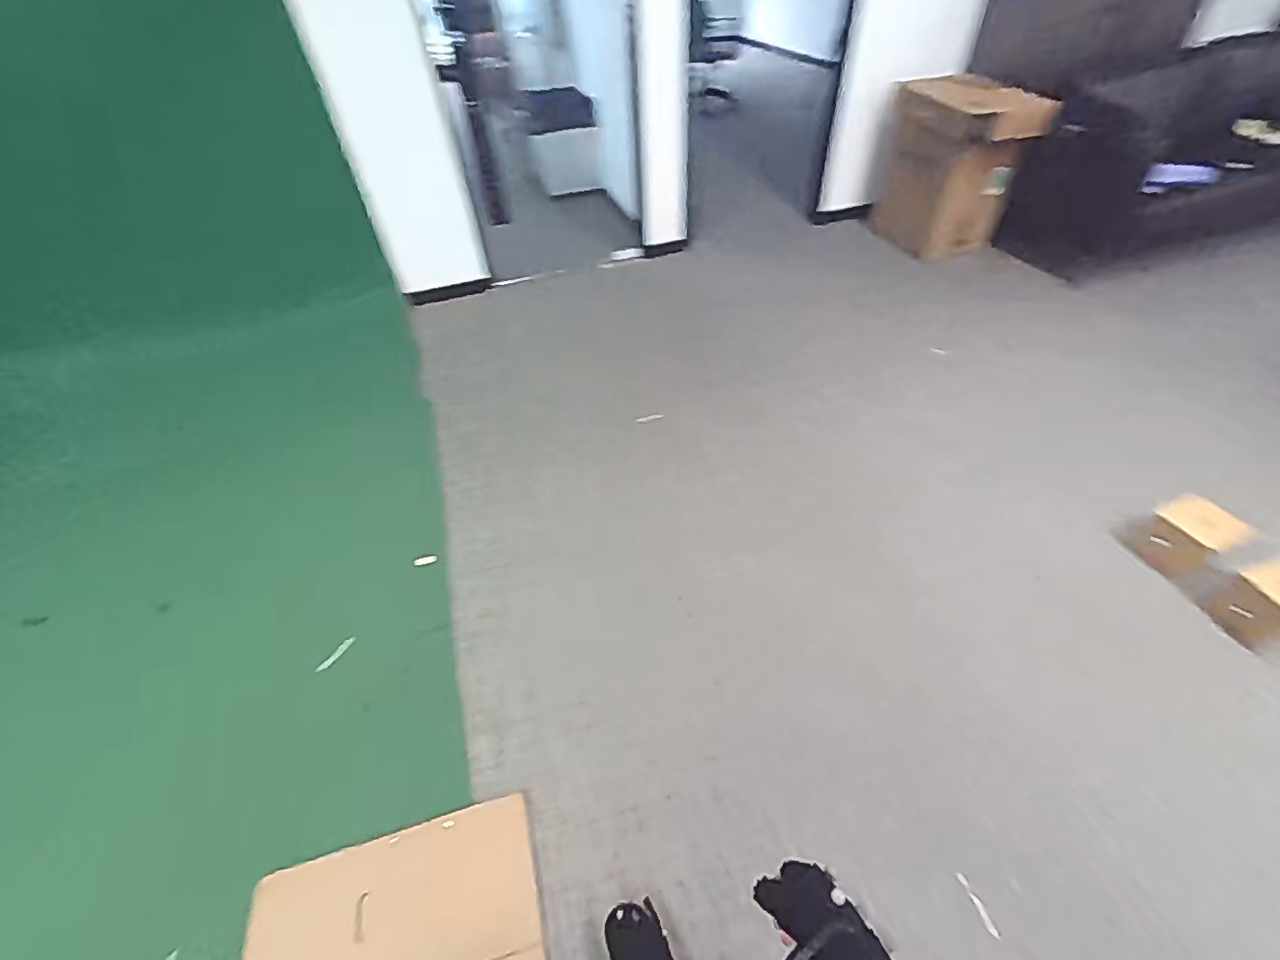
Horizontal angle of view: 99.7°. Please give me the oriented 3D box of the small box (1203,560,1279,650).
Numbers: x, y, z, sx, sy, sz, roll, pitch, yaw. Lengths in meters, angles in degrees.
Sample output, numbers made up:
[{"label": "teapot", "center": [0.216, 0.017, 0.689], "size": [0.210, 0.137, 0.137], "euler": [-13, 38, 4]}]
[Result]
[{"label": "small box", "center": [1.728, 0.346, 1.488], "size": [0.179, 0.176, 0.168], "euler": [-12, 46, -7]}]

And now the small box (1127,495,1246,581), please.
[{"label": "small box", "center": [1.657, 0.182, 1.656], "size": [0.179, 0.176, 0.168], "euler": [-19, 48, -15]}]
